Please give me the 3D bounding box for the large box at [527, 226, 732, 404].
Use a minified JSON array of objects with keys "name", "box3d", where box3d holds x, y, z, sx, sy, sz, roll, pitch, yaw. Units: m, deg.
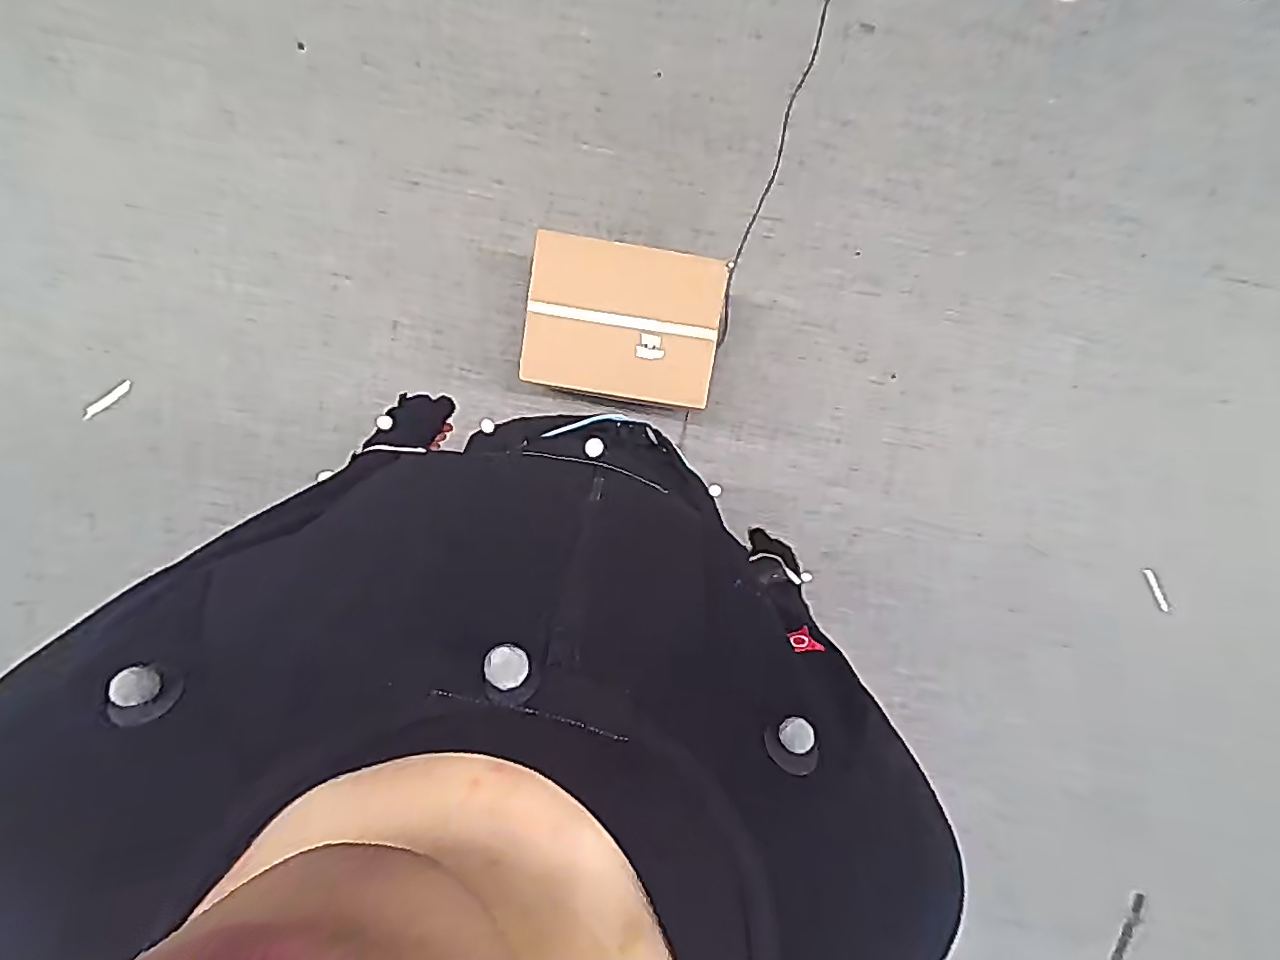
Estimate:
[{"name":"large box","box3d":[-0.030,-0.366,1.290,0.408,0.320,0.320,9,98,-2]}]
